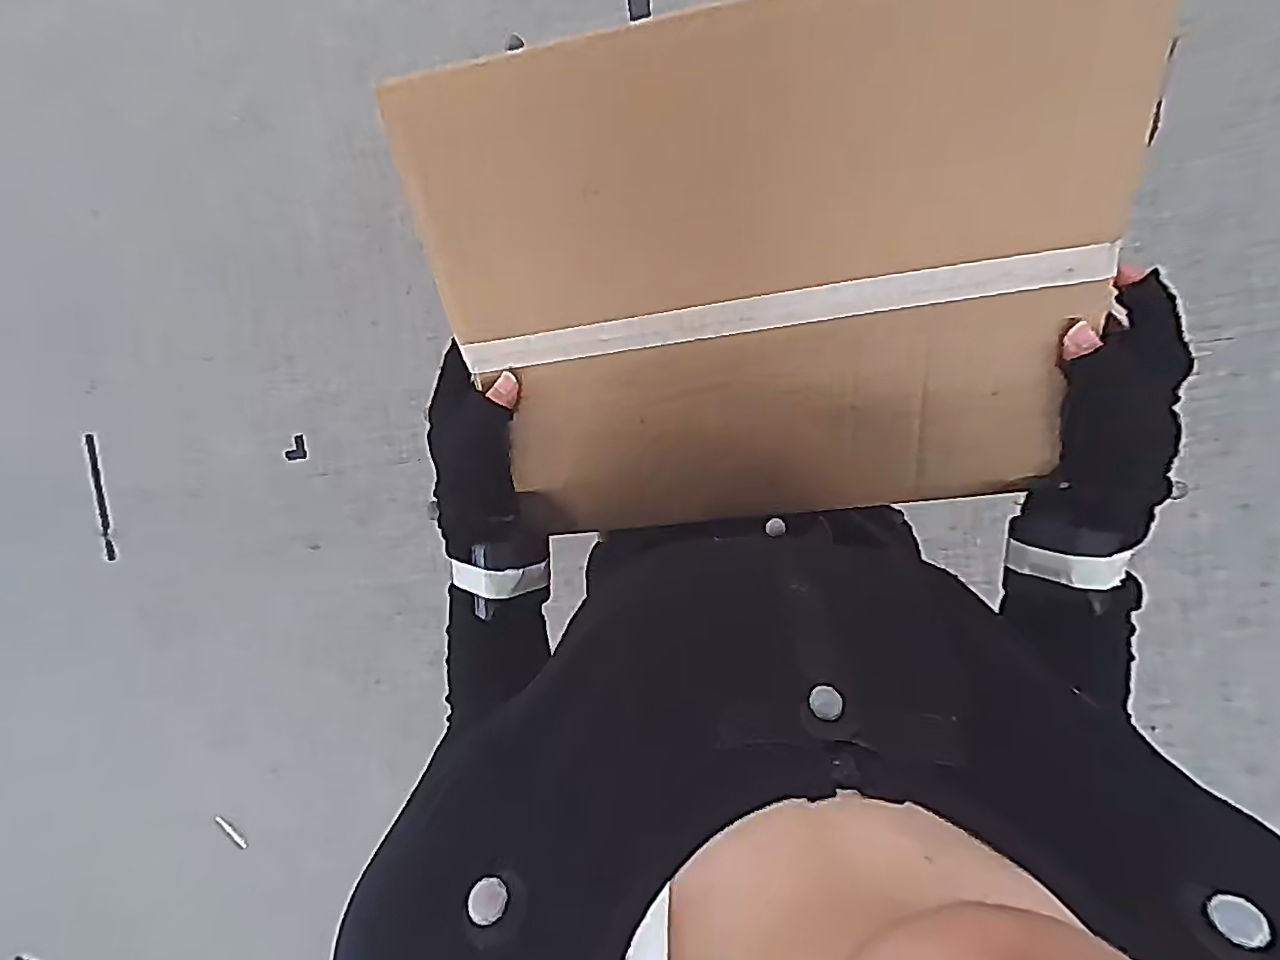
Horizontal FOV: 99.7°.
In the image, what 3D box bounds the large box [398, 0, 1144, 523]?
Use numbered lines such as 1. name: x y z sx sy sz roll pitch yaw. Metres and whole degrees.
1. large box: 0.086 -0.191 0.484 0.408 0.320 0.320 -6 121 9
